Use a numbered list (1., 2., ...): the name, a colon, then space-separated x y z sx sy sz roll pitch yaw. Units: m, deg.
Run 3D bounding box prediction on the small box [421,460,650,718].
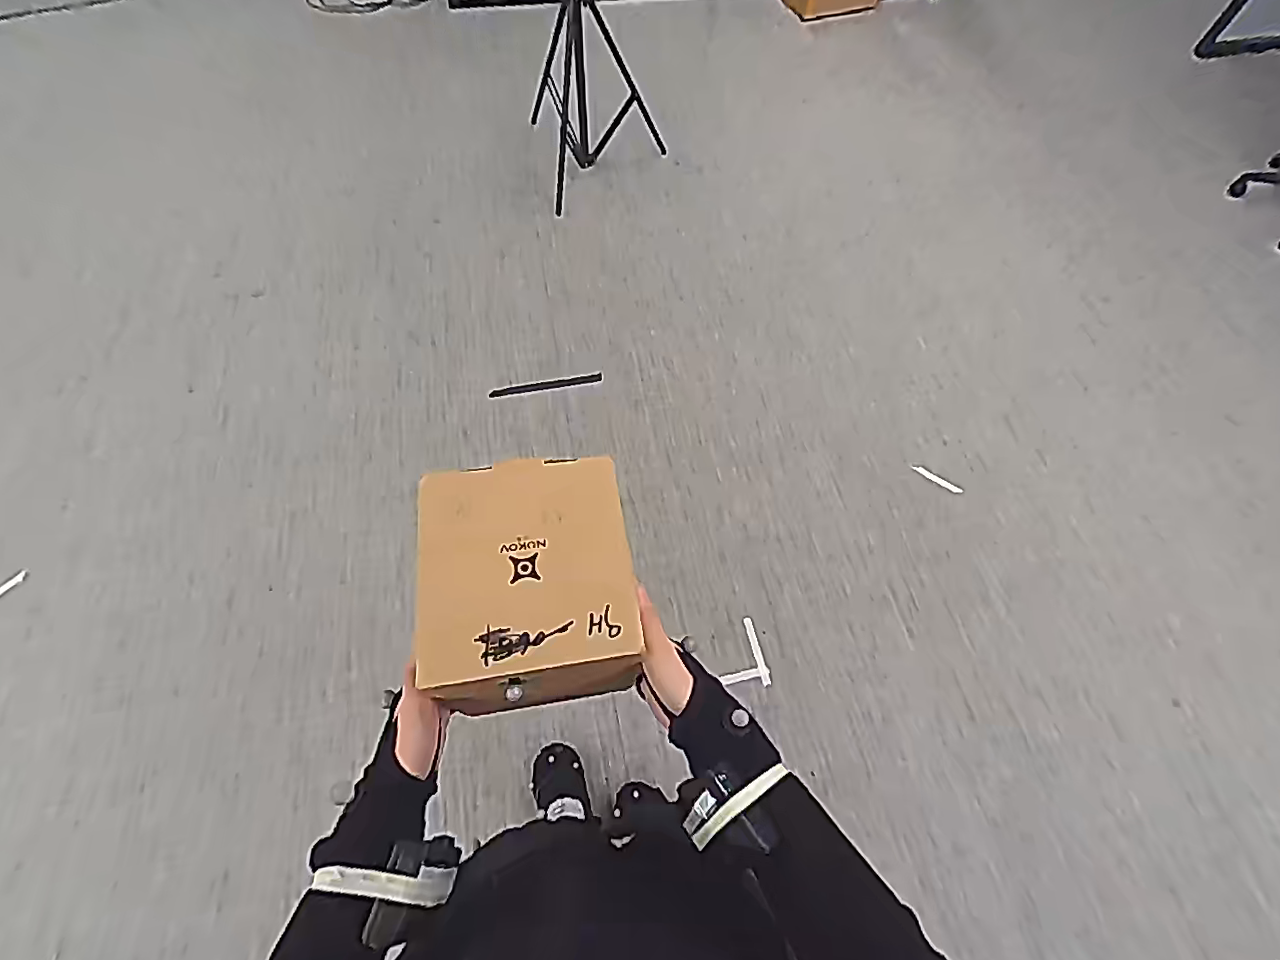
1. small box: -0.092 0.104 0.496 0.168 0.176 0.179 -7 61 -8
